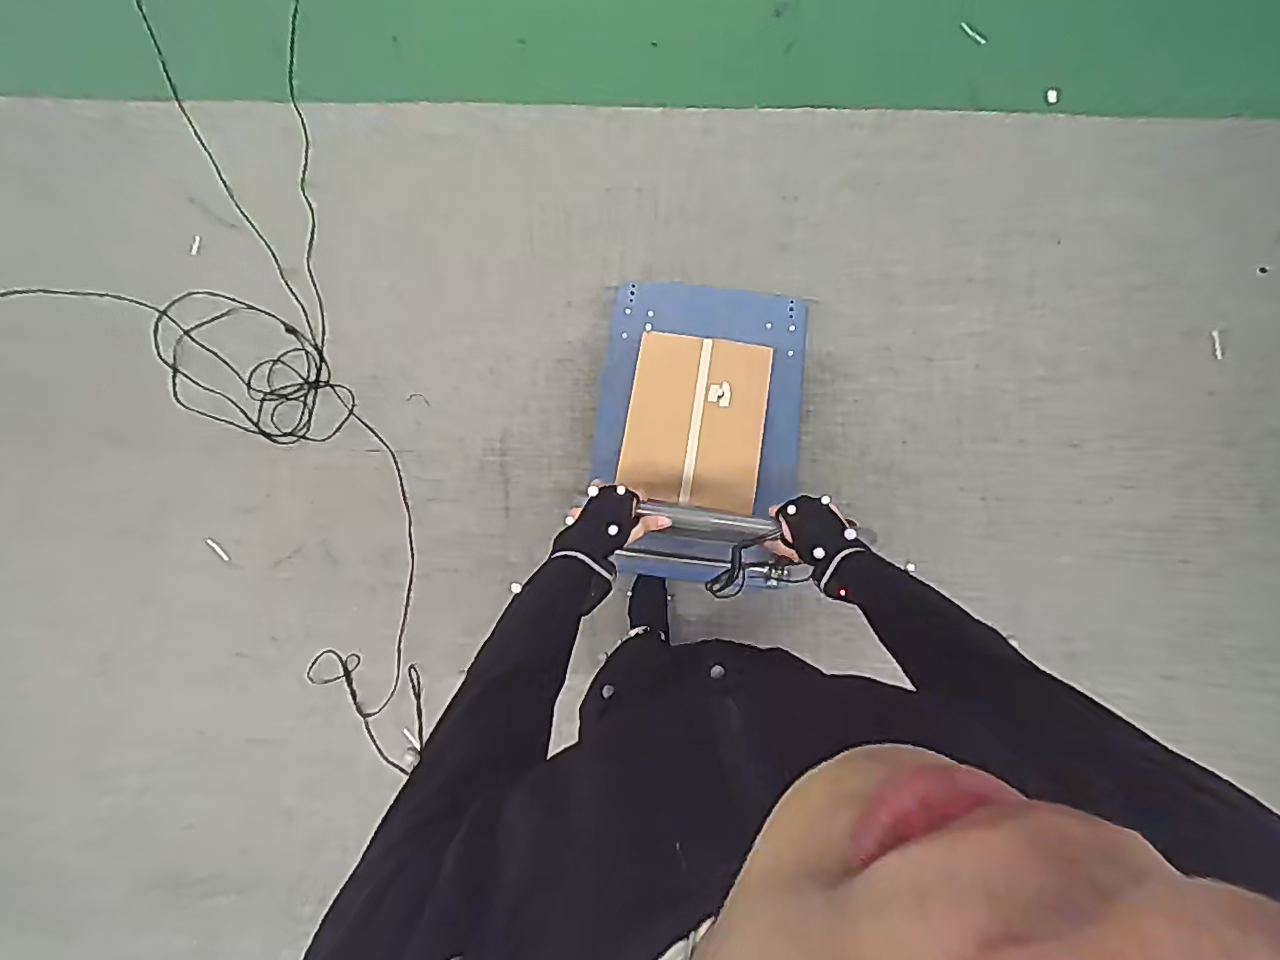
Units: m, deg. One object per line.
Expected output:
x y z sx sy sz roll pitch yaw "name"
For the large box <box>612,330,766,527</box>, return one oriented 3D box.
0.121 -0.112 1.383 0.320 0.320 0.408 9 78 2 "large box"
